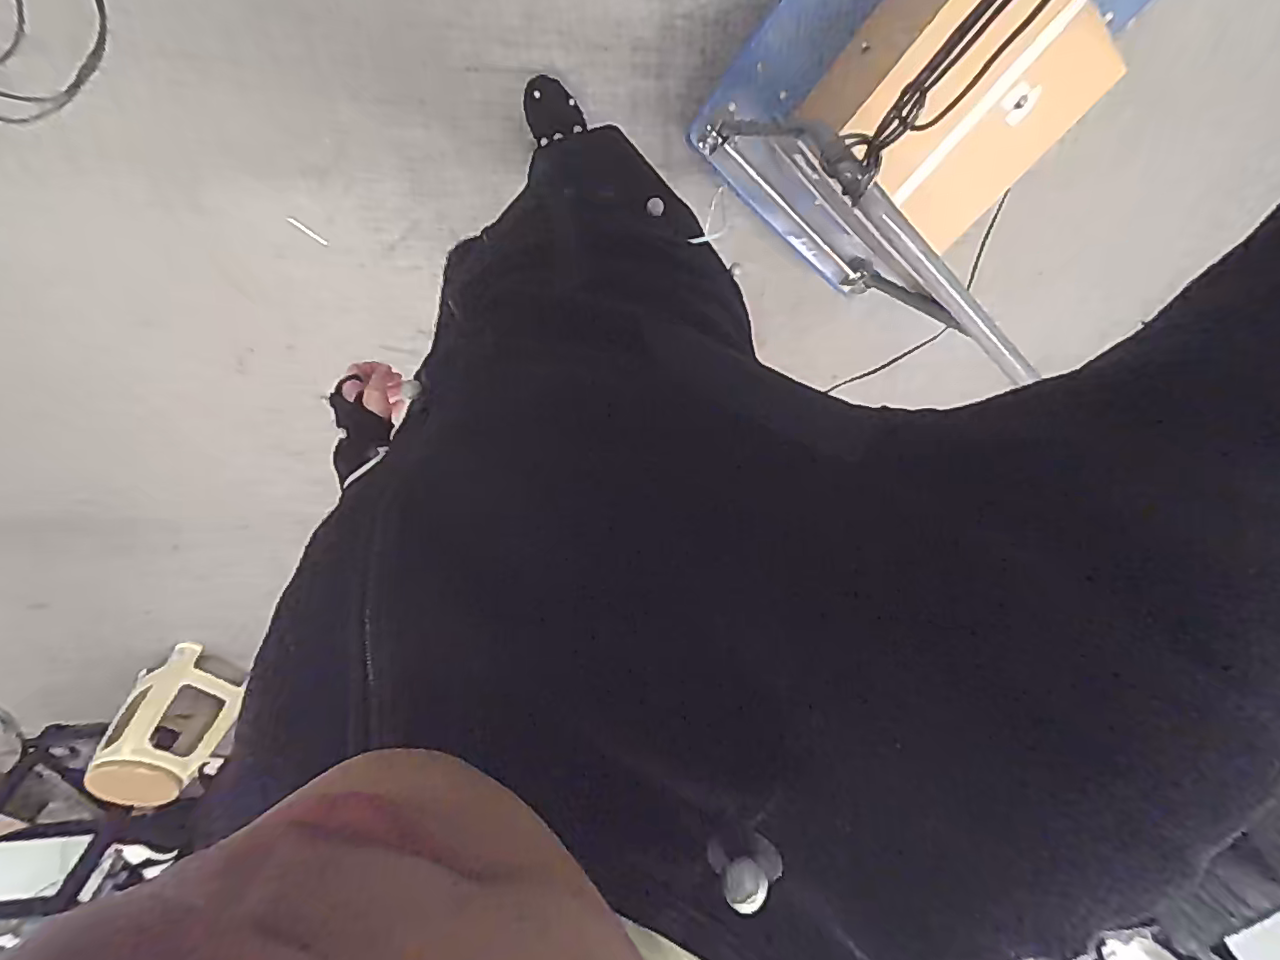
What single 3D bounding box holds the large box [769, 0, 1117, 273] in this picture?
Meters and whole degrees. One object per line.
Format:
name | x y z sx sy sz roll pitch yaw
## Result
large box | 0.518 -0.678 1.009 0.320 0.320 0.408 31 117 -25
